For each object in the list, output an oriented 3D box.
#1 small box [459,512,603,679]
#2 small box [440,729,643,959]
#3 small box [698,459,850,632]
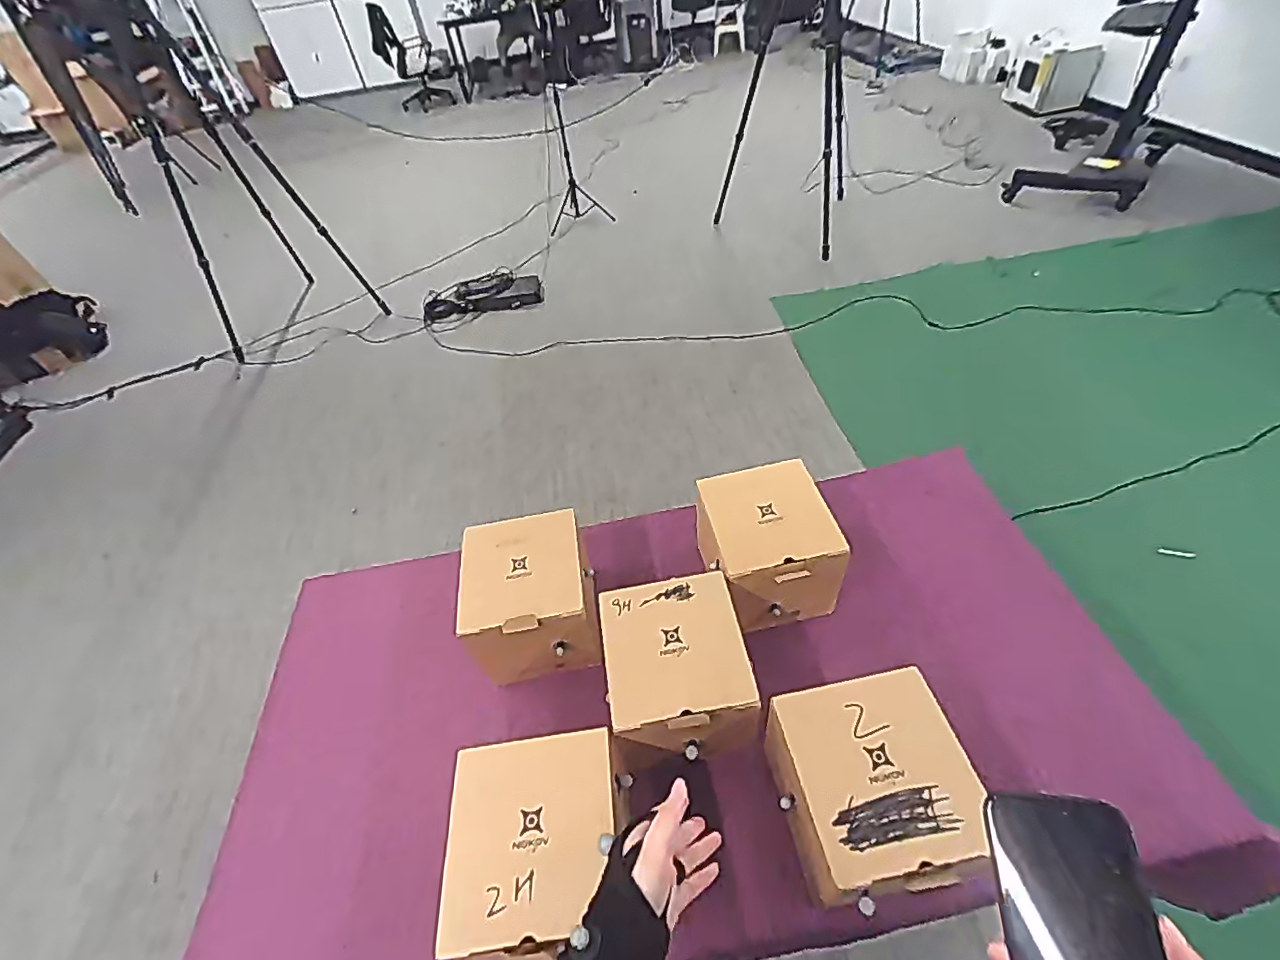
[{"bbox_3d":[-0.154,0.177,0.798,0.168,0.176,0.179,-10,47,-2],"label":"small box"},{"bbox_3d":[-0.093,0.397,0.584,0.168,0.176,0.179,-9,47,1],"label":"small box"},{"bbox_3d":[0.187,0.100,0.813,0.168,0.176,0.179,-13,49,-2],"label":"small box"}]
